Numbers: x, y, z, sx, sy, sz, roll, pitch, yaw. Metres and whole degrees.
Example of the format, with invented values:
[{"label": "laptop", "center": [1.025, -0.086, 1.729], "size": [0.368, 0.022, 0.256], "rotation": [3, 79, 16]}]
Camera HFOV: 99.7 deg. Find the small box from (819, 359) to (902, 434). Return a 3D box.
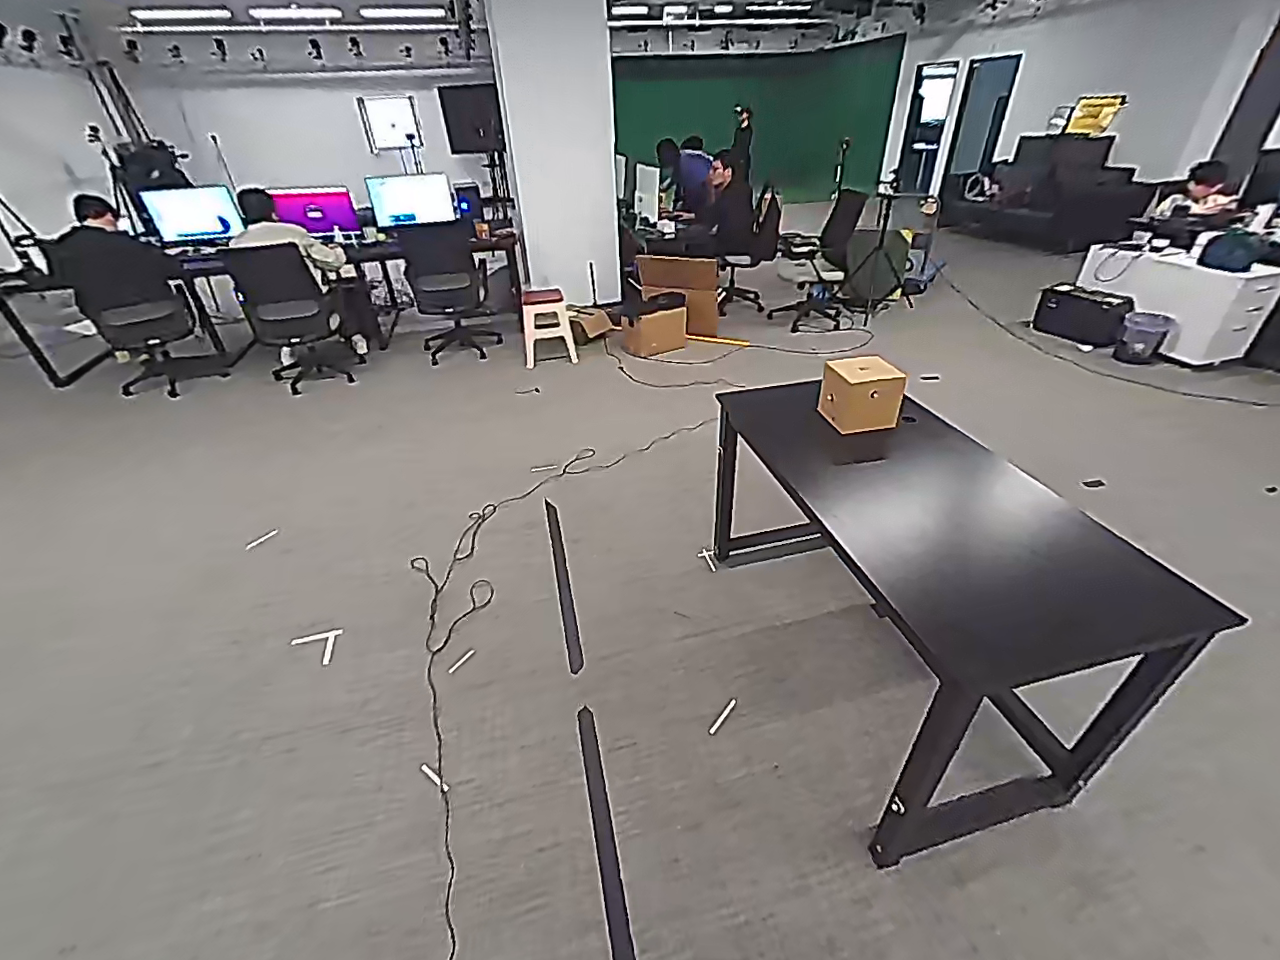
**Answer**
[{"label": "small box", "center": [0.660, -0.252, 1.648], "size": [0.179, 0.176, 0.168], "rotation": [-8, 34, -8]}]
